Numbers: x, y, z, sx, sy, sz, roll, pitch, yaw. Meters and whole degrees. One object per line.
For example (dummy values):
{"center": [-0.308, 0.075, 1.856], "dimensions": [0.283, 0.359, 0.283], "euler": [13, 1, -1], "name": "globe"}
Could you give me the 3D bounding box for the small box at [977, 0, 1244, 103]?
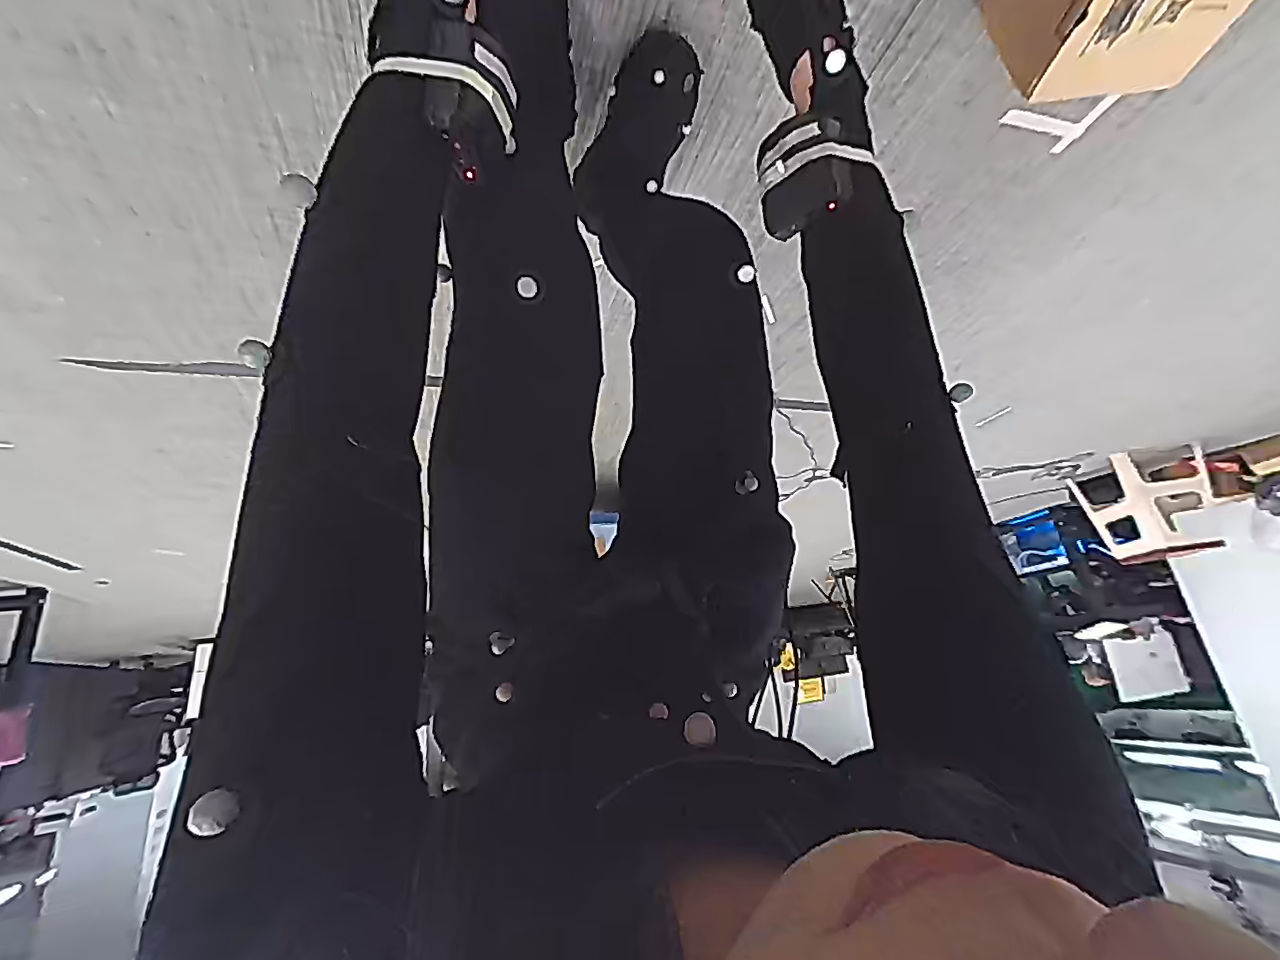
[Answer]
{"center": [0.491, -0.530, 0.554], "dimensions": [0.179, 0.176, 0.168], "euler": [-7, 160, -2], "name": "small box"}
